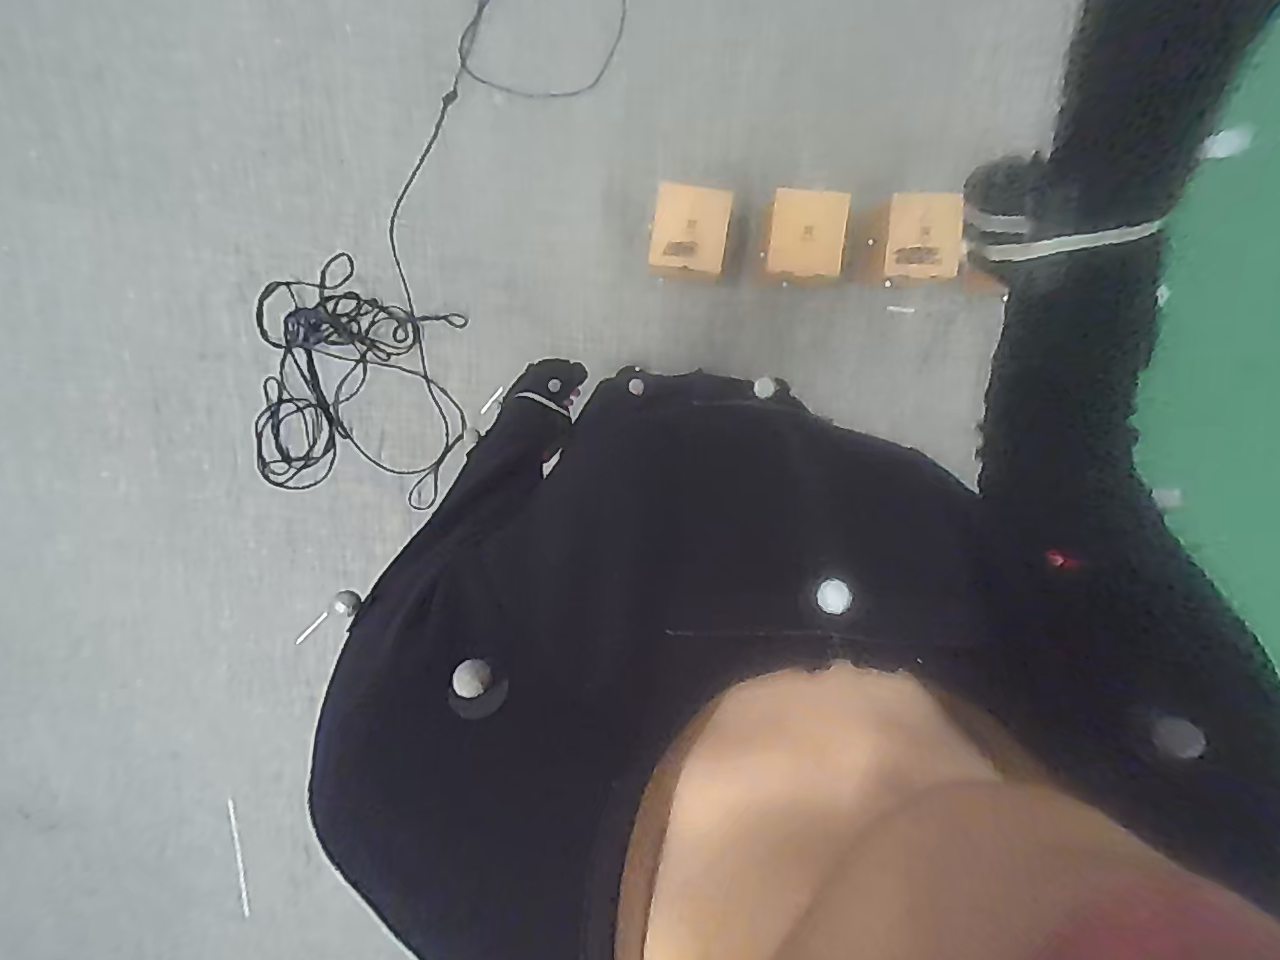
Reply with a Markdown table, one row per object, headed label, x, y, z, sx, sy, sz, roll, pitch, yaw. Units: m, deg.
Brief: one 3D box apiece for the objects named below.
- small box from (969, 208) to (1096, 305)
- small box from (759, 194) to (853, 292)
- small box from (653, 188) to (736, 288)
| label | x | y | z | sx | sy | sz | roll | pitch | yaw |
| --- | --- | --- | --- | --- | --- | --- | --- | --- | --- |
| small box | 0.916 | -0.522 | 1.281 | 0.168 | 0.176 | 0.179 | 4 | 102 | 1 |
| small box | 0.387 | -0.558 | 1.291 | 0.168 | 0.176 | 0.179 | 4 | 102 | 1 |
| small box | 0.126 | -0.569 | 1.296 | 0.168 | 0.176 | 0.179 | 9 | 101 | 0 |
